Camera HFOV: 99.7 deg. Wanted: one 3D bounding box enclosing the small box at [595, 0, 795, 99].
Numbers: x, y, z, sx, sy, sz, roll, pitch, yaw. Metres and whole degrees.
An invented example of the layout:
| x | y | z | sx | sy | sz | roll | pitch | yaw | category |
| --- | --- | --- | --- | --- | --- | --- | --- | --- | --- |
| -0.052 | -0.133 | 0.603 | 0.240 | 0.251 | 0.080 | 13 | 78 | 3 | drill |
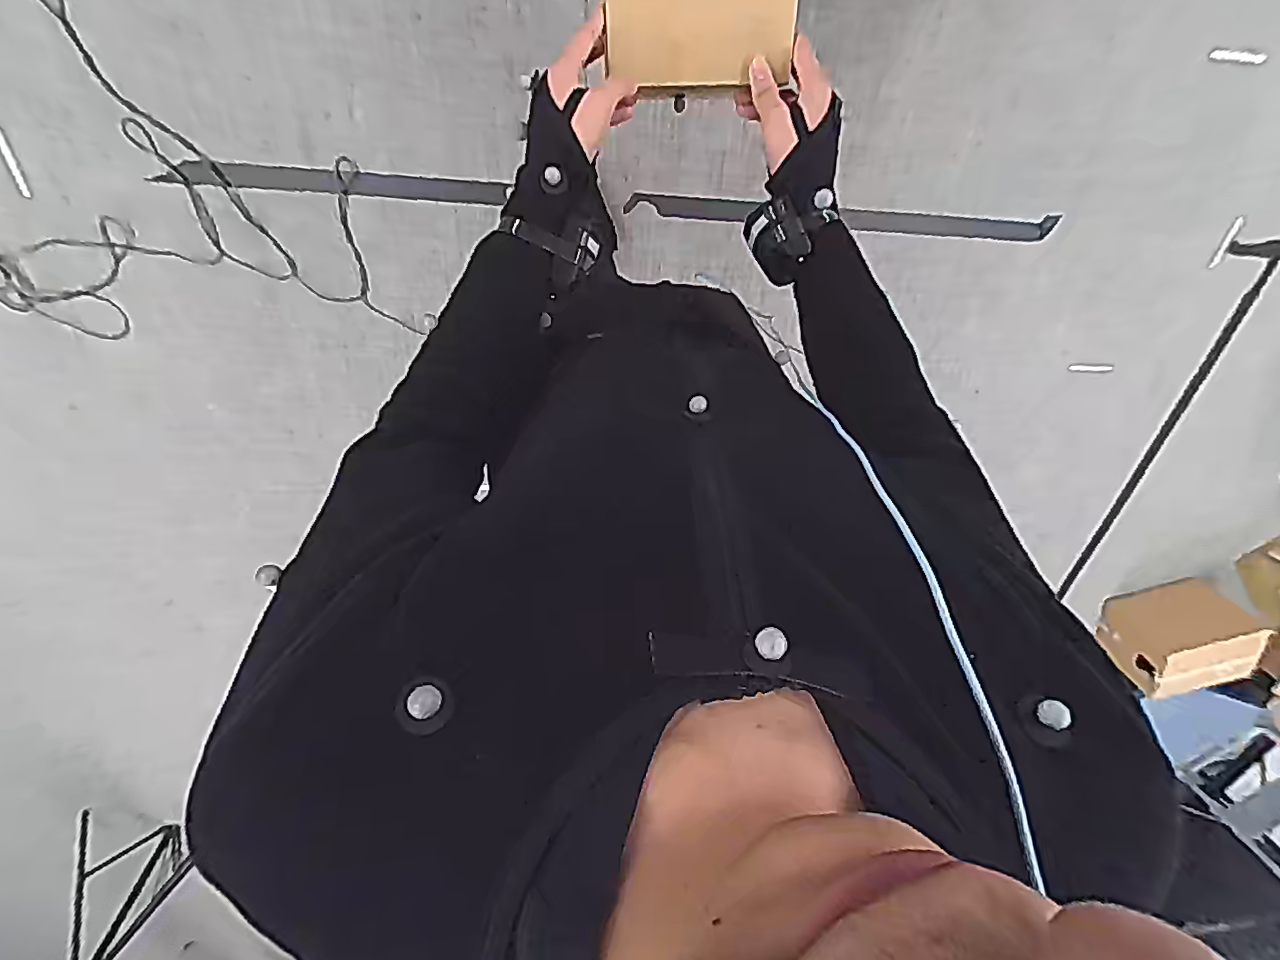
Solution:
| x | y | z | sx | sy | sz | roll | pitch | yaw | category |
| --- | --- | --- | --- | --- | --- | --- | --- | --- | --- |
| 0.043 | -0.464 | 0.502 | 0.168 | 0.176 | 0.179 | -3 | 122 | -4 | small box |
